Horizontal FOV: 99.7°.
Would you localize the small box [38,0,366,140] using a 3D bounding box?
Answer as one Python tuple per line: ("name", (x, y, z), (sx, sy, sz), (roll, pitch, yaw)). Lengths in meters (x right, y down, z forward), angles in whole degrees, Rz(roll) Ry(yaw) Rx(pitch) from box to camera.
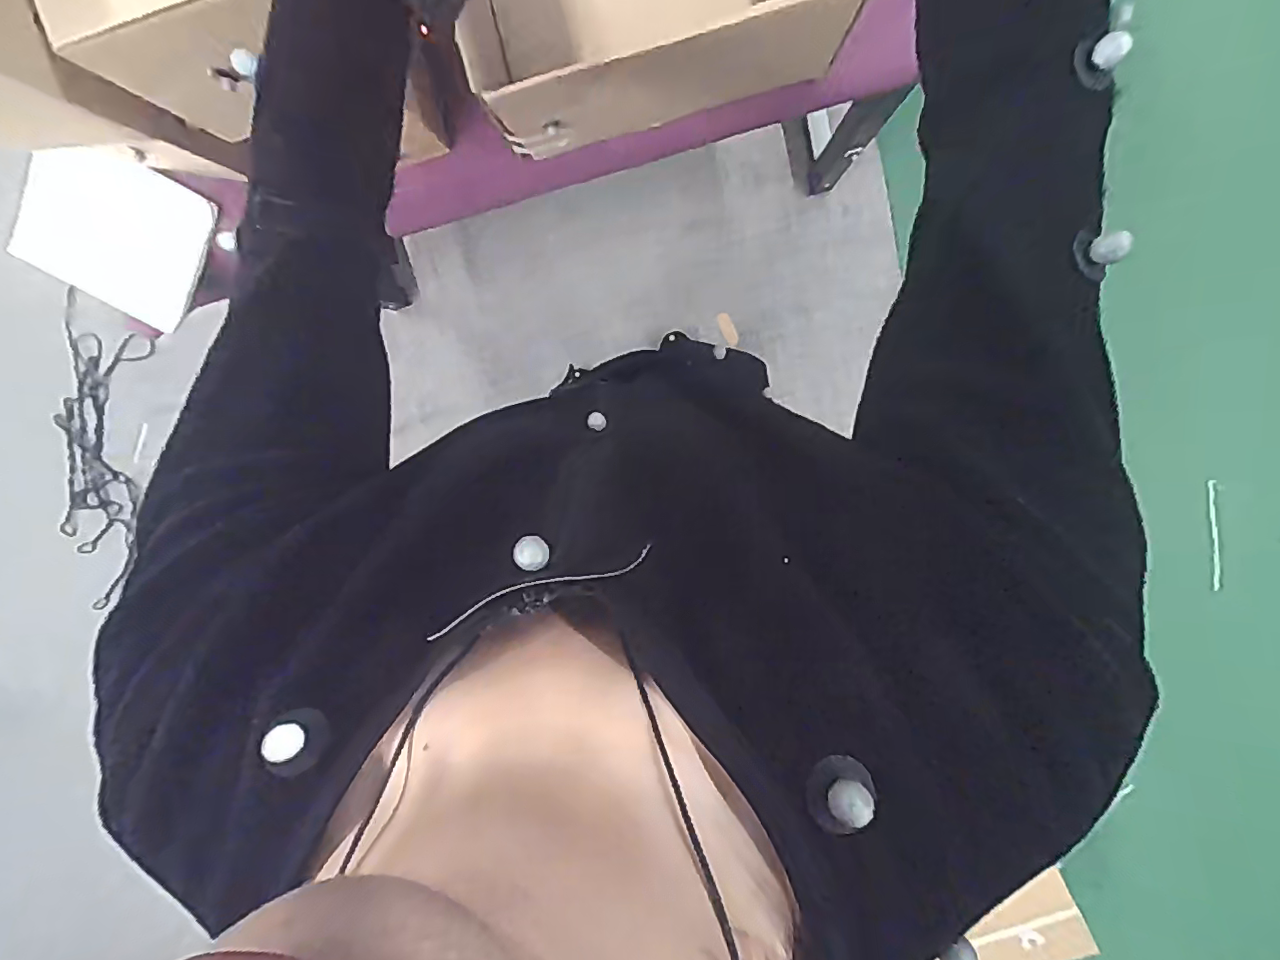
("small box", (-0.367, -0.430, 0.462), (0.179, 0.176, 0.168), (-13, 99, 7))
